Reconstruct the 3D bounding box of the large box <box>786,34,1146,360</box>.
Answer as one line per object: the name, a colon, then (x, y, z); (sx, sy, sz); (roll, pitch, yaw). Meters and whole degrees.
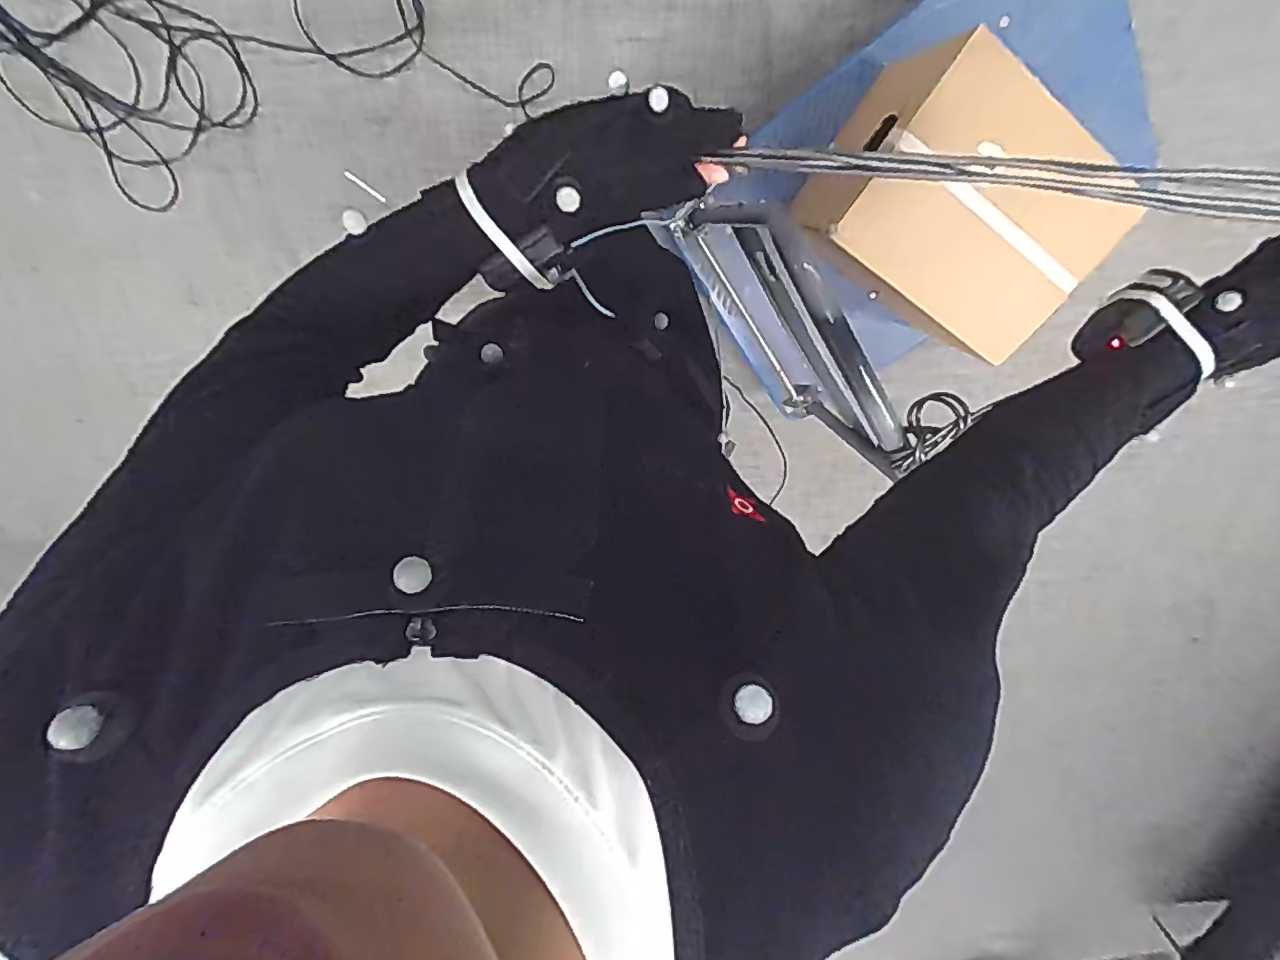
large box: (0.547, -0.485, 0.985); (0.408, 0.320, 0.320); (29, 114, -16)
